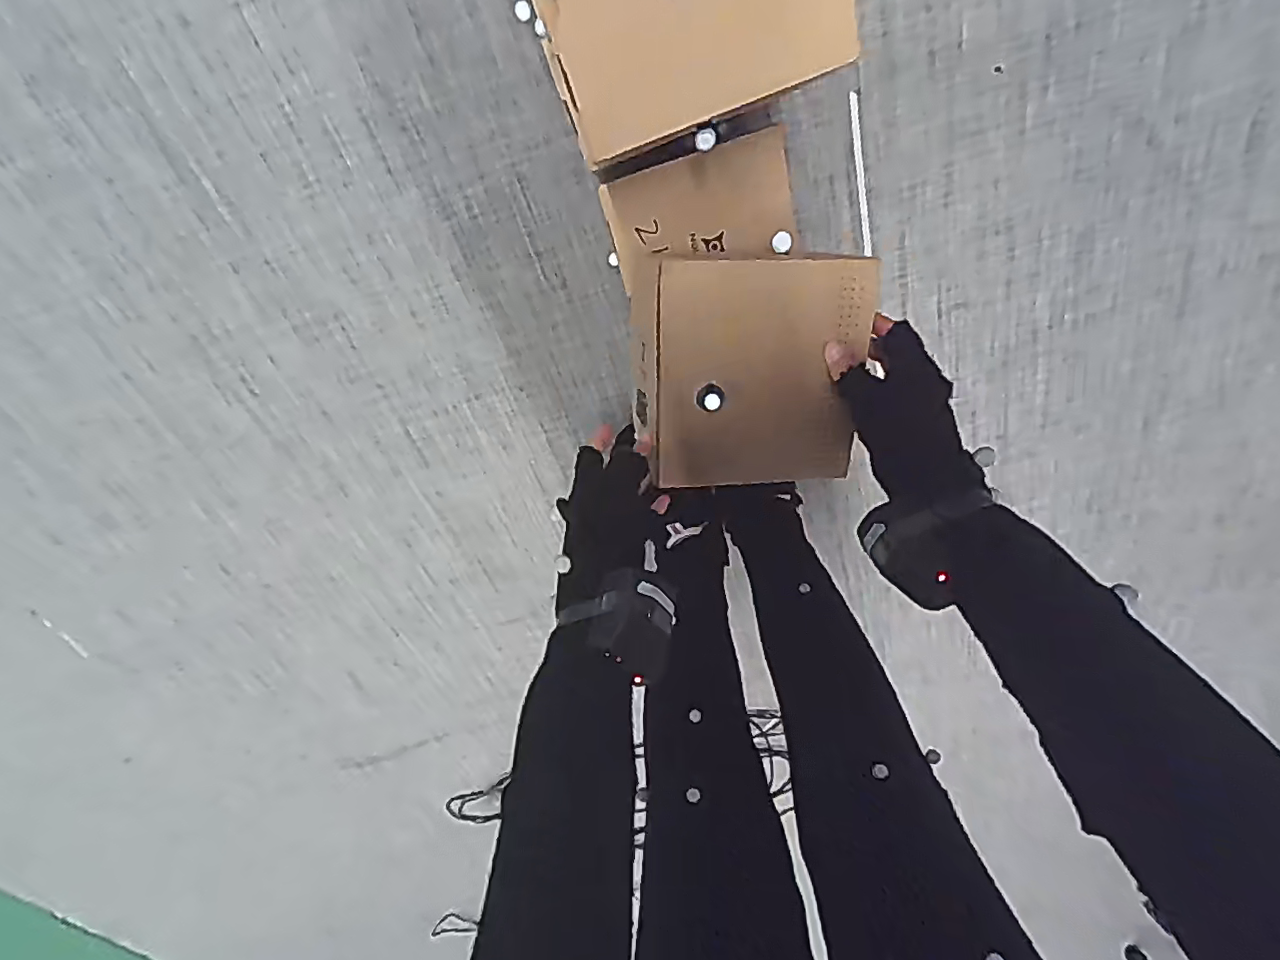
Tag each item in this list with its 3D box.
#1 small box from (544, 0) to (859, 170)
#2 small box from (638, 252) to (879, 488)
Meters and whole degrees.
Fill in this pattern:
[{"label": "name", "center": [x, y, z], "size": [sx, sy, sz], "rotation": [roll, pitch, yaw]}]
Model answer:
[{"label": "small box", "center": [0.028, -0.335, 0.374], "size": [0.179, 0.176, 0.168], "rotation": [-16, 119, 9]}, {"label": "small box", "center": [0.091, -0.108, 0.489], "size": [0.176, 0.168, 0.179], "rotation": [-3, 115, -6]}]
